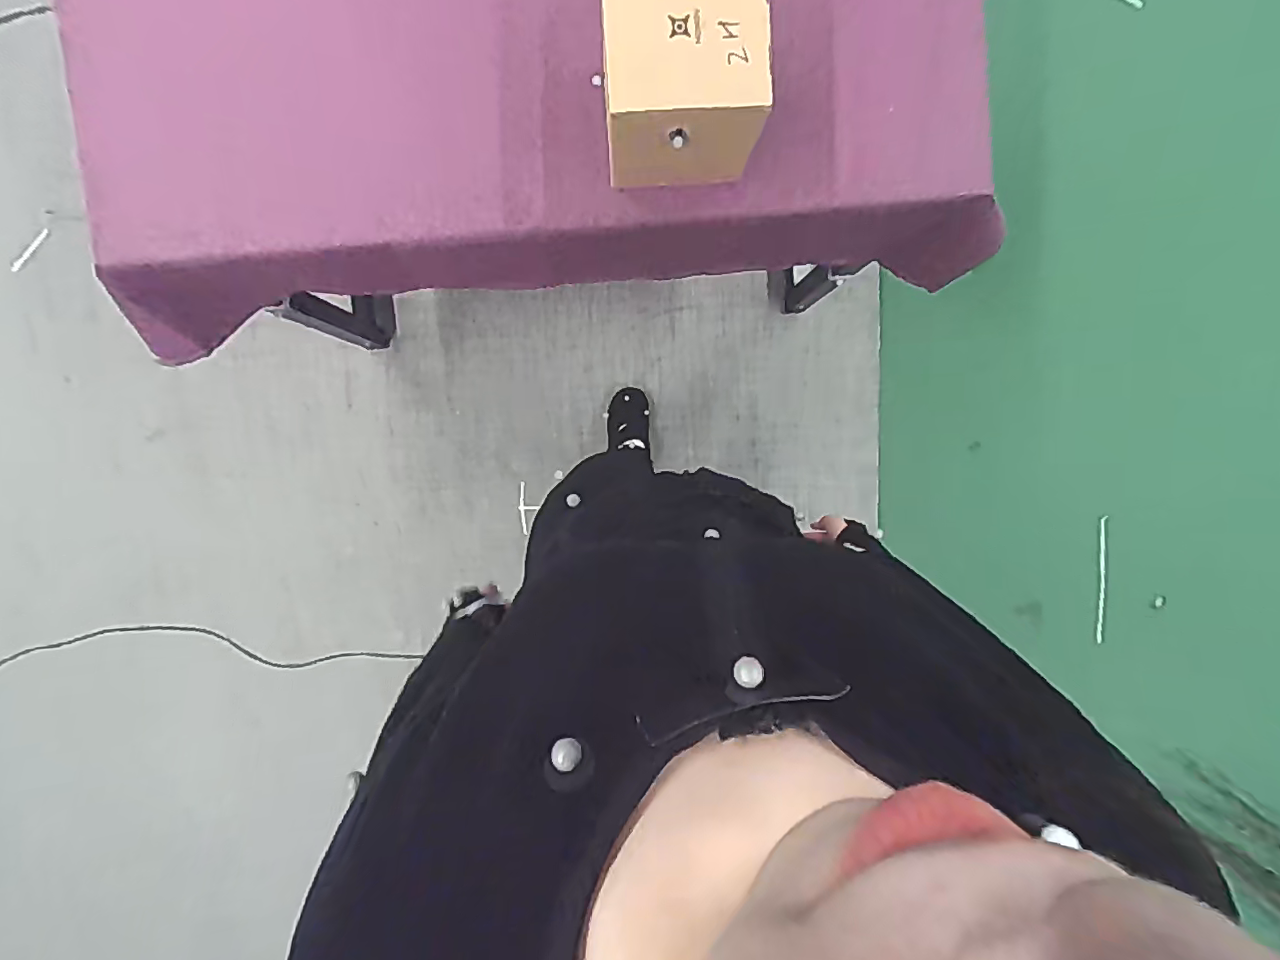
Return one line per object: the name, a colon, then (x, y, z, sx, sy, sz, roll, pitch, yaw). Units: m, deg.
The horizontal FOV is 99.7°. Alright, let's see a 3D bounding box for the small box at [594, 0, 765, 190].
small box: (0.040, -0.467, 0.644, 0.179, 0.176, 0.168, -3, 94, -2)
